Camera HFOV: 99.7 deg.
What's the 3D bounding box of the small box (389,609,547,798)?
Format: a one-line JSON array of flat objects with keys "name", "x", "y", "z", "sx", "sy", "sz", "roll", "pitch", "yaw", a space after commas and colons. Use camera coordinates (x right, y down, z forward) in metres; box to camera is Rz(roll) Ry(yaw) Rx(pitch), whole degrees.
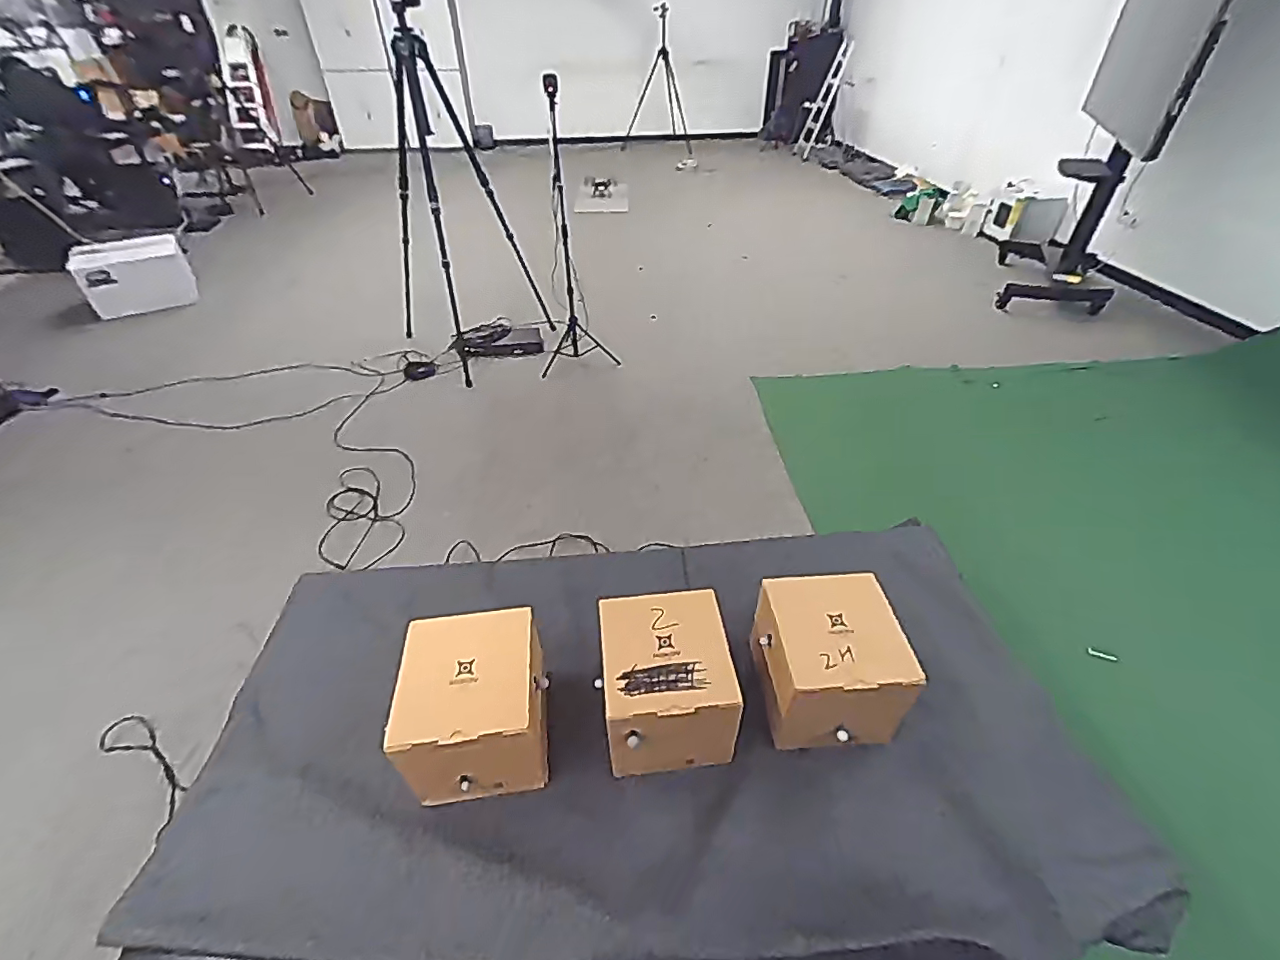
[{"name": "small box", "x": -0.221, "y": 0.304, "z": 0.744, "sx": 0.168, "sy": 0.176, "sz": 0.179, "roll": -5, "pitch": 41, "yaw": -6}]
